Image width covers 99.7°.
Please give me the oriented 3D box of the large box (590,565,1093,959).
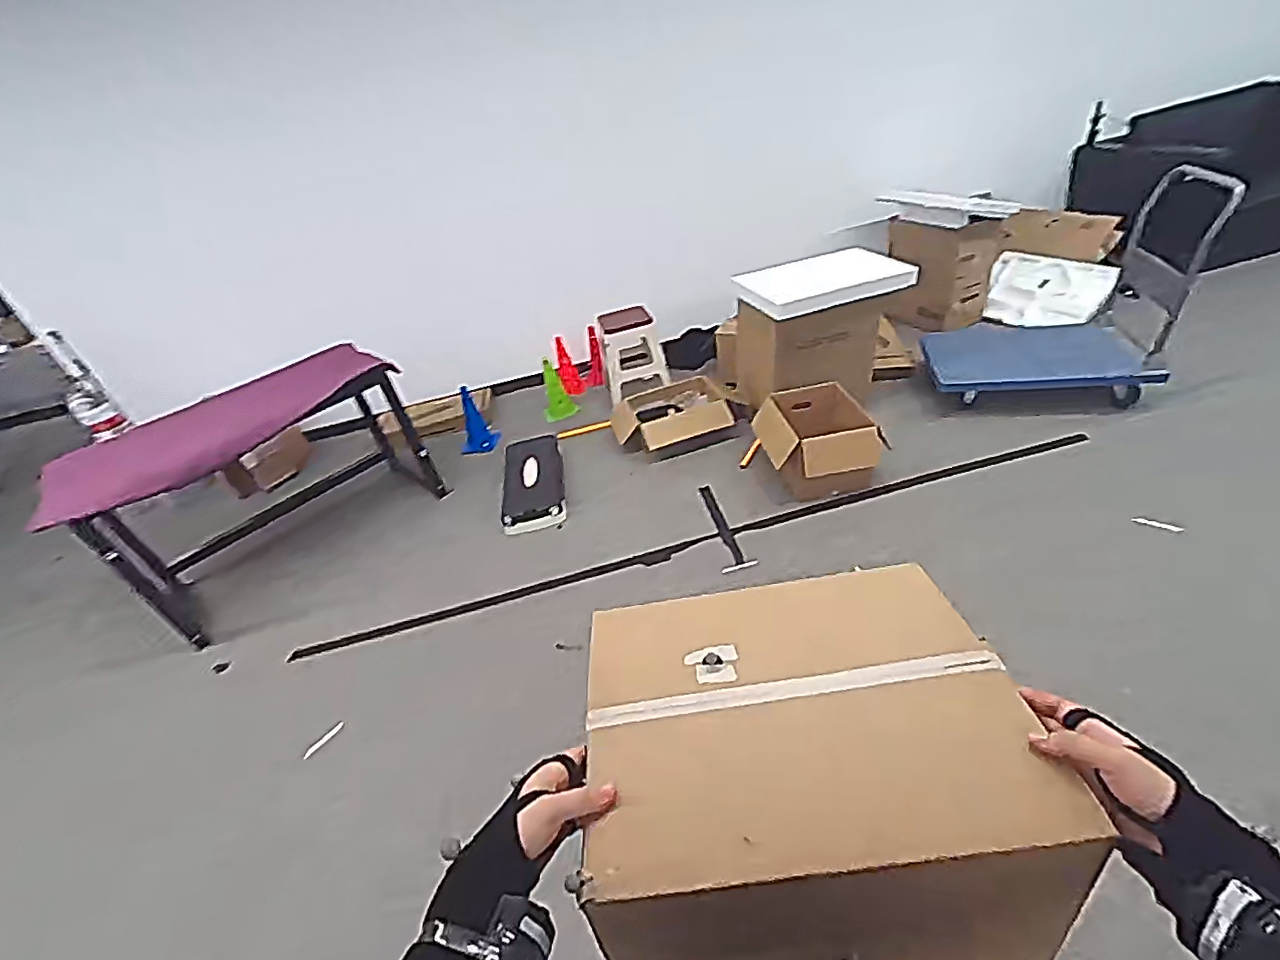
[{"bbox_3d":[0.177,0.343,0.623,0.408,0.320,0.320,-11,29,4],"label":"large box"}]
